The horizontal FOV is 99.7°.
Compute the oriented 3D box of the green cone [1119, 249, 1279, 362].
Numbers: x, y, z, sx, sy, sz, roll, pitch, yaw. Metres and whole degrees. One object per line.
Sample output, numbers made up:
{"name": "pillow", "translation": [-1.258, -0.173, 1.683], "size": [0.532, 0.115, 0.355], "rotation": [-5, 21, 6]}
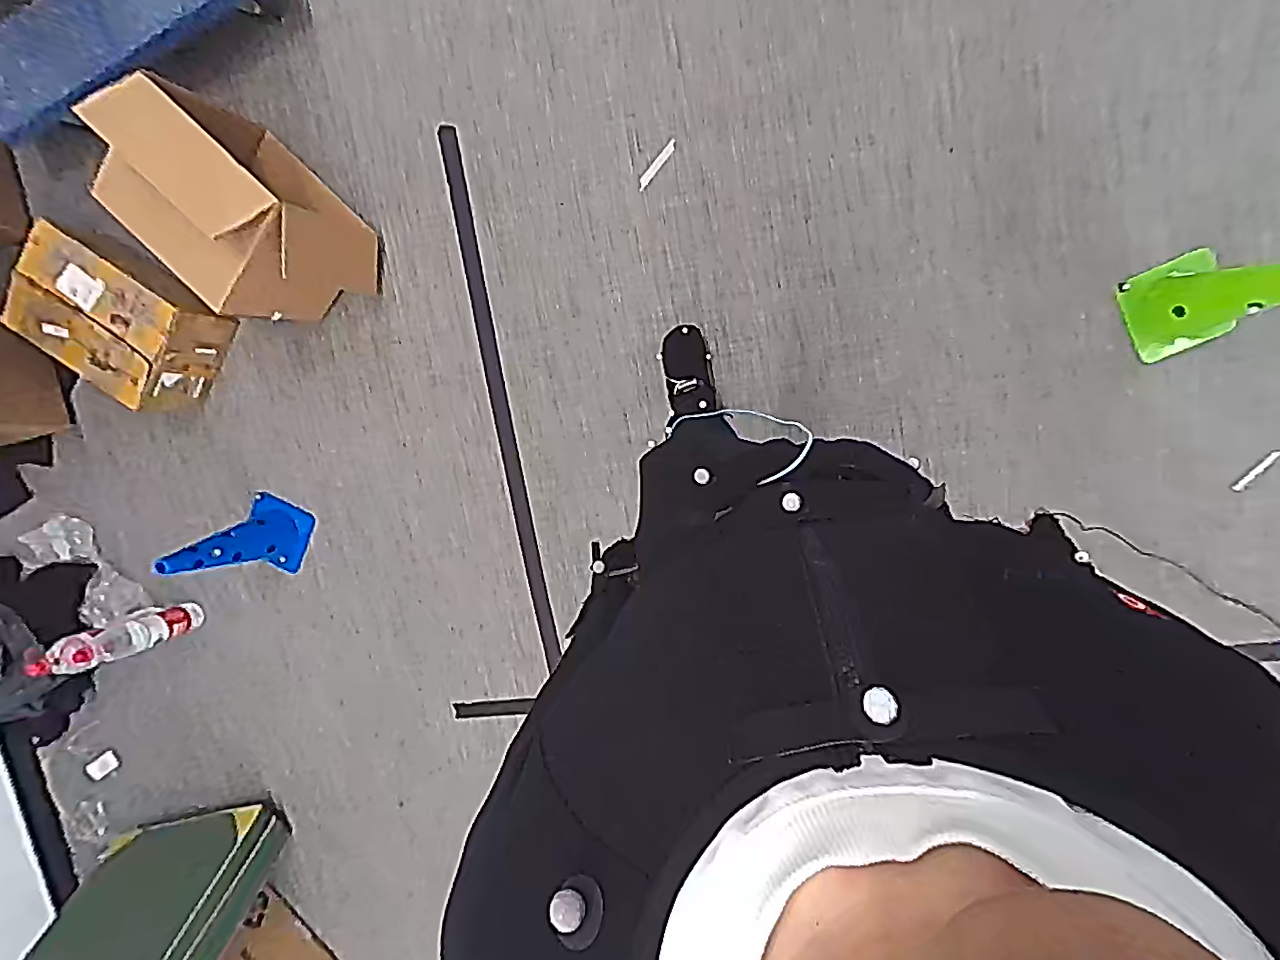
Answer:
{"name": "green cone", "translation": [1.192, -0.368, 1.051], "size": [0.202, 0.368, 0.200], "rotation": [-25, 94, 9]}
